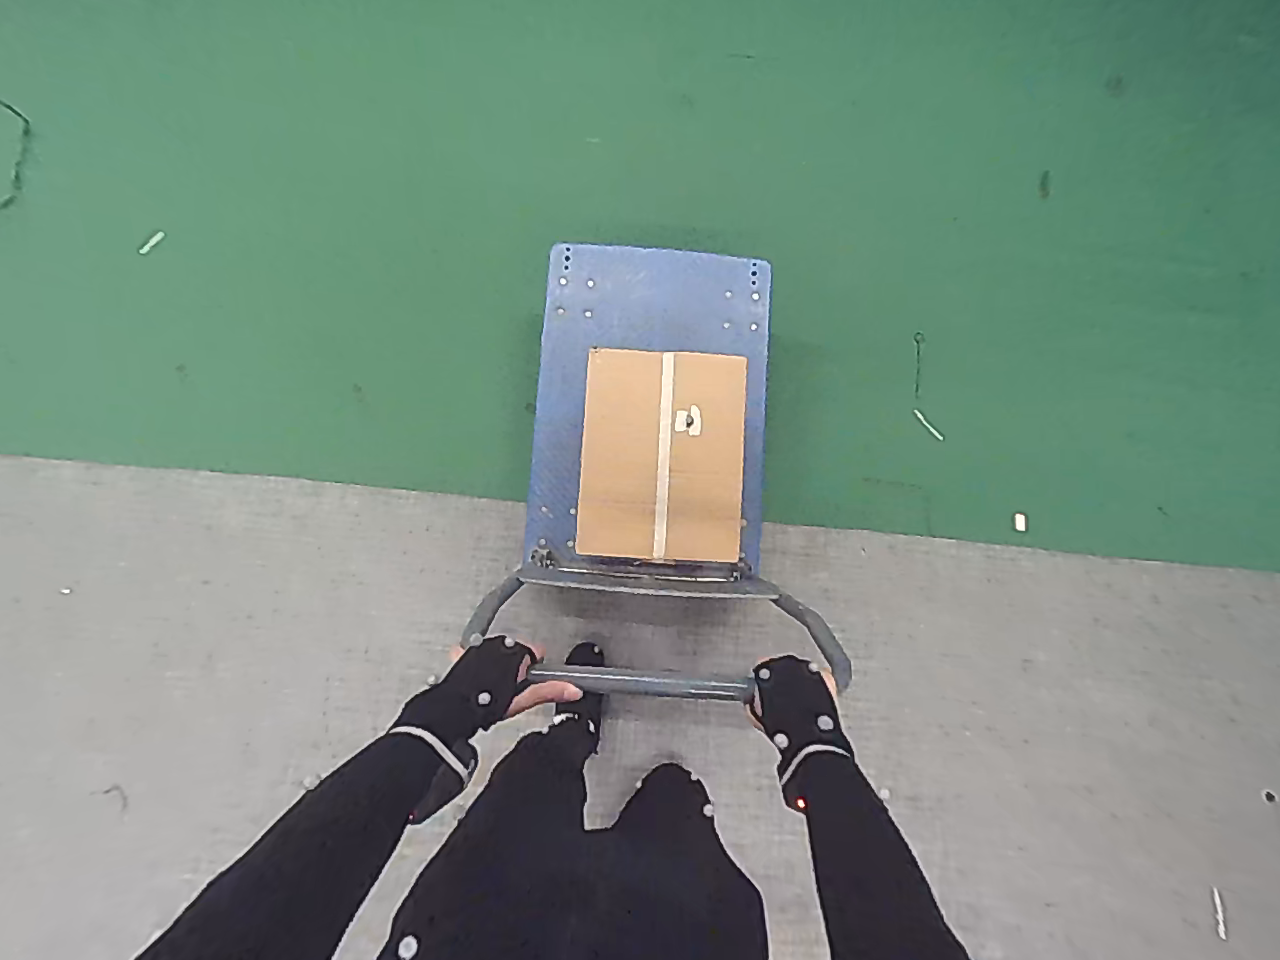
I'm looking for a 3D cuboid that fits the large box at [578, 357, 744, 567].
[{"bbox_3d":[0.042,-0.022,1.192,0.320,0.320,0.408,4,84,-2],"label":"large box"}]
